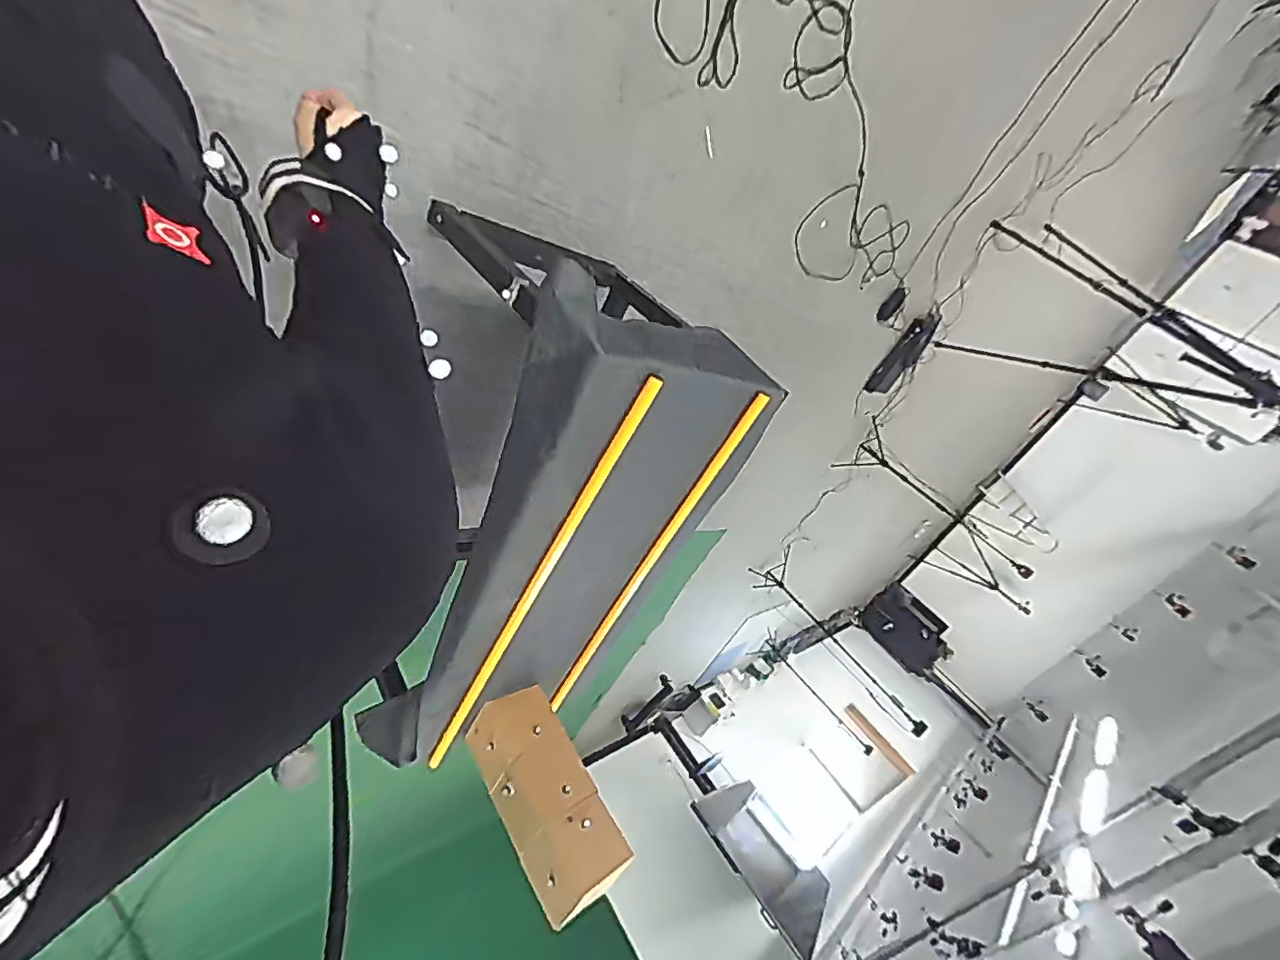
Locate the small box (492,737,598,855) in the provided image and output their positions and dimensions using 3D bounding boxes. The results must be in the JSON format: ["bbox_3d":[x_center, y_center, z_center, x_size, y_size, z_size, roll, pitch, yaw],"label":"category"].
[{"bbox_3d":[-0.244,0.793,1.377,0.179,0.176,0.168,-2,129,-47],"label":"small box"}]

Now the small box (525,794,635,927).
[{"bbox_3d":[-0.150,0.896,1.290,0.168,0.176,0.179,-3,129,-48],"label":"small box"}]

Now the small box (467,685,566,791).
[{"bbox_3d":[-0.337,0.687,1.457,0.179,0.176,0.168,-1,129,-48],"label":"small box"}]
